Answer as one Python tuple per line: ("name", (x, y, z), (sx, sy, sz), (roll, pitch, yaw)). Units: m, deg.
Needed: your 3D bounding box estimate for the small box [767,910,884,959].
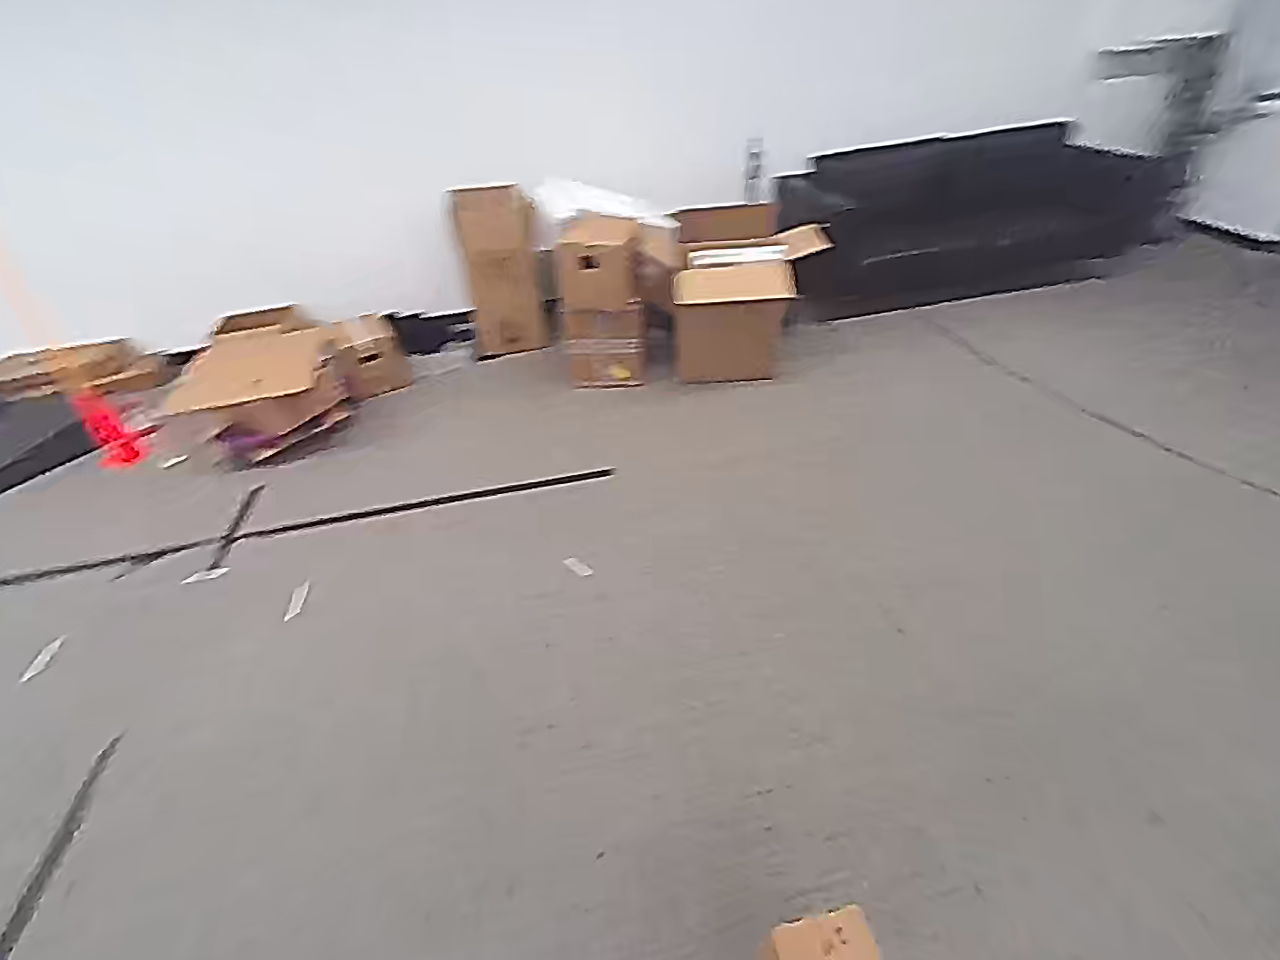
("small box", (0.326, 0.869, 0.912), (0.168, 0.176, 0.179), (-9, 40, -6))
